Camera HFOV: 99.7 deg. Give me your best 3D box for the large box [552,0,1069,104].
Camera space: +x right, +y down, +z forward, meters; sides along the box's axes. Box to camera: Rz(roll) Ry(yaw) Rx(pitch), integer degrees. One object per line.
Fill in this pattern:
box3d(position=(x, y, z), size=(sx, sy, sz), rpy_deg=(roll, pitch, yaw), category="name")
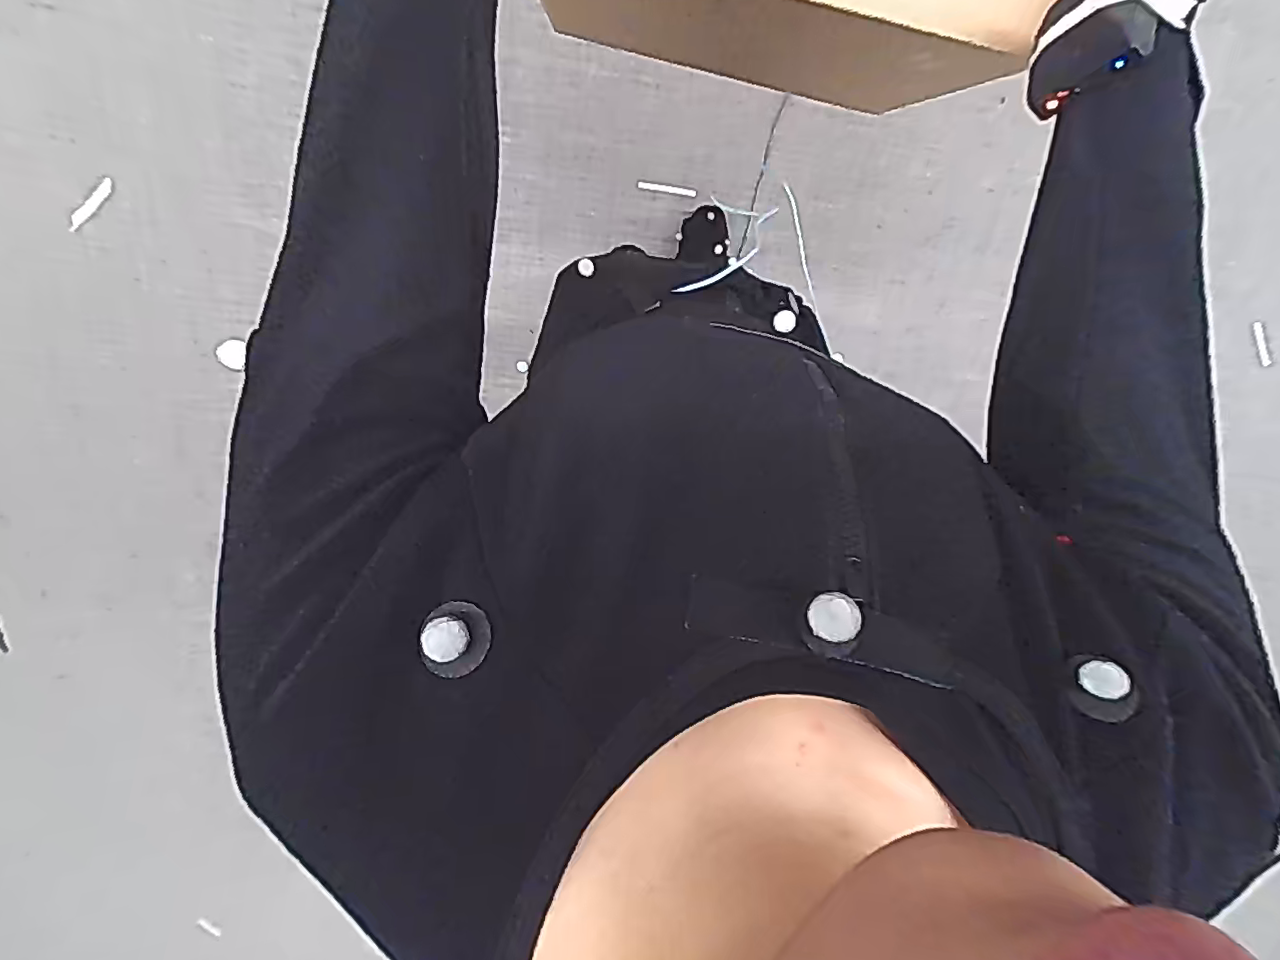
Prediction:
box3d(position=(0.133, -0.552, 0.444), size=(0.408, 0.320, 0.320), rpy_deg=(9, 119, -7), category="large box")
